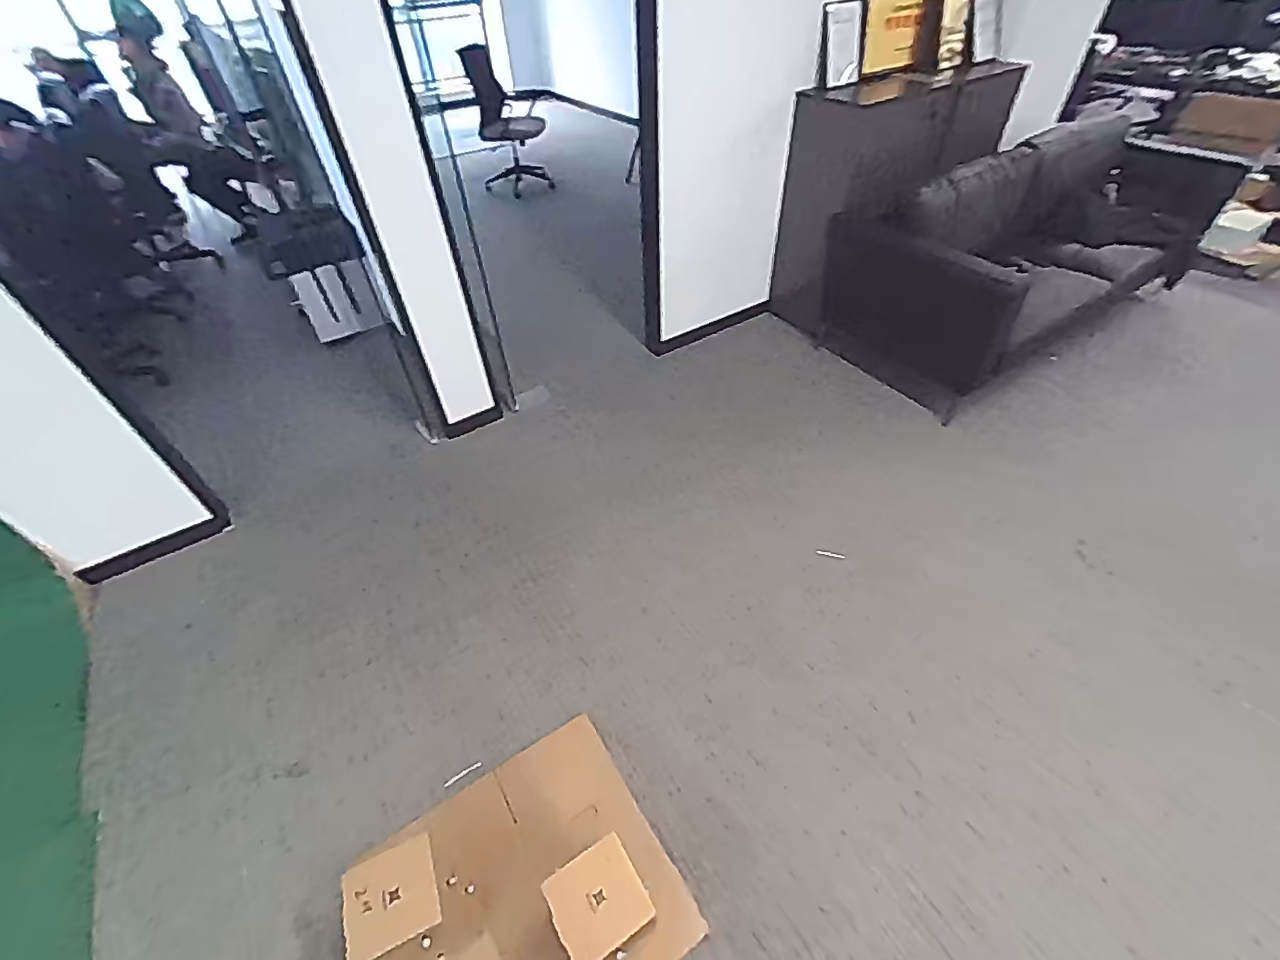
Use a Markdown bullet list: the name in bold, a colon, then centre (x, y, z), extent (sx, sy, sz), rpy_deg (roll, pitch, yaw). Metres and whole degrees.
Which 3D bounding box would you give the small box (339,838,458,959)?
- **small box**: centre (-0.485, 0.875, 1.103), extent (0.179, 0.176, 0.168), rpy_deg (-20, 47, -16)

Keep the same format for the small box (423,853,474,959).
- **small box**: centre (-0.486, 0.990, 1.223), extent (0.179, 0.176, 0.168), rpy_deg (-19, 47, -16)

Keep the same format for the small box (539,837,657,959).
- **small box**: centre (-0.082, 0.873, 1.098), extent (0.179, 0.176, 0.168), rpy_deg (-27, 51, -20)
